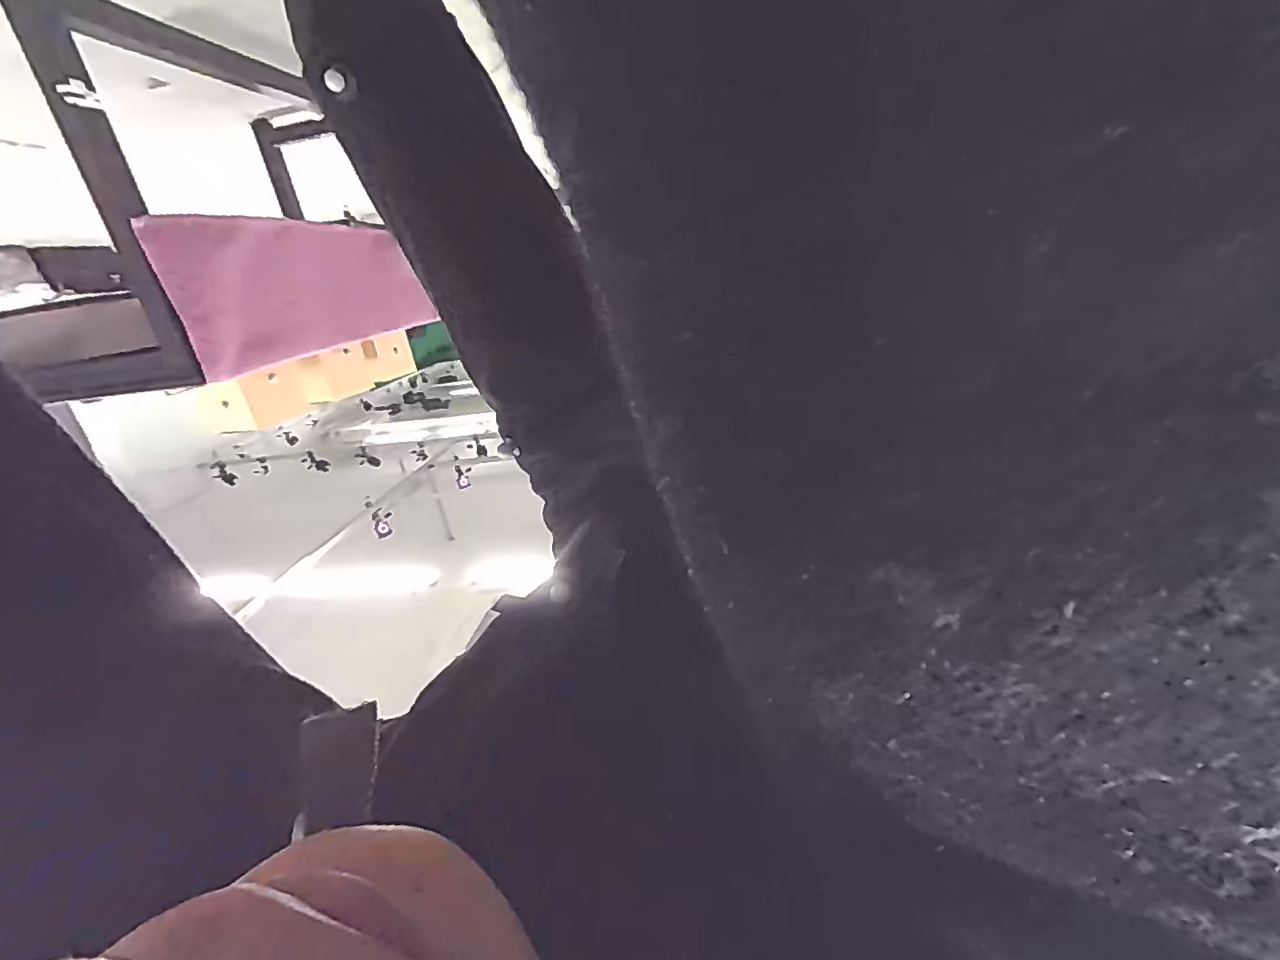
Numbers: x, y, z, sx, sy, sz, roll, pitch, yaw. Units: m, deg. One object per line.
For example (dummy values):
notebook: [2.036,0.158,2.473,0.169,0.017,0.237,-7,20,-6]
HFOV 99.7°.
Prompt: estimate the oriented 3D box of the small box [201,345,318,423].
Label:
small box: [-1.007,-0.258,1.429,0.179,0.176,0.168,0,-155,22]

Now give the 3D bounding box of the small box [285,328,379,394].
small box: [-0.953,-0.369,1.666,0.179,0.176,0.168,0,-155,19]

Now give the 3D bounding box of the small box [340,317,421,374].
small box: [-0.909,-0.472,1.893,0.179,0.176,0.168,0,-156,18]
